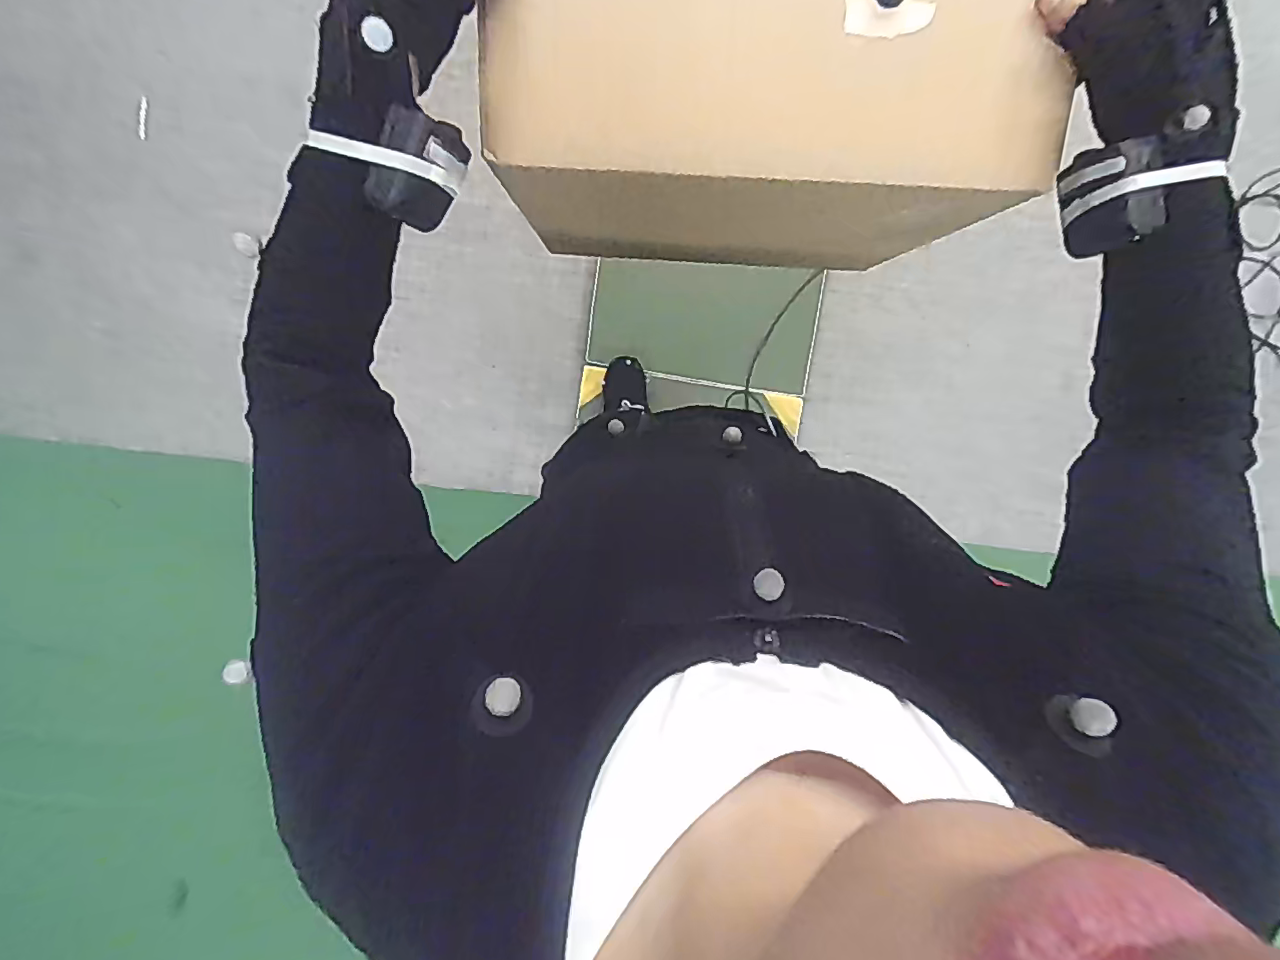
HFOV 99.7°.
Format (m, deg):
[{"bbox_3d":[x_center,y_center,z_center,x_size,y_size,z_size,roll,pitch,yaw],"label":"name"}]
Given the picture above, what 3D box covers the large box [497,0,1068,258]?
[{"bbox_3d":[0.094,-0.405,0.508,0.408,0.320,0.320,1,102,-2],"label":"large box"}]
